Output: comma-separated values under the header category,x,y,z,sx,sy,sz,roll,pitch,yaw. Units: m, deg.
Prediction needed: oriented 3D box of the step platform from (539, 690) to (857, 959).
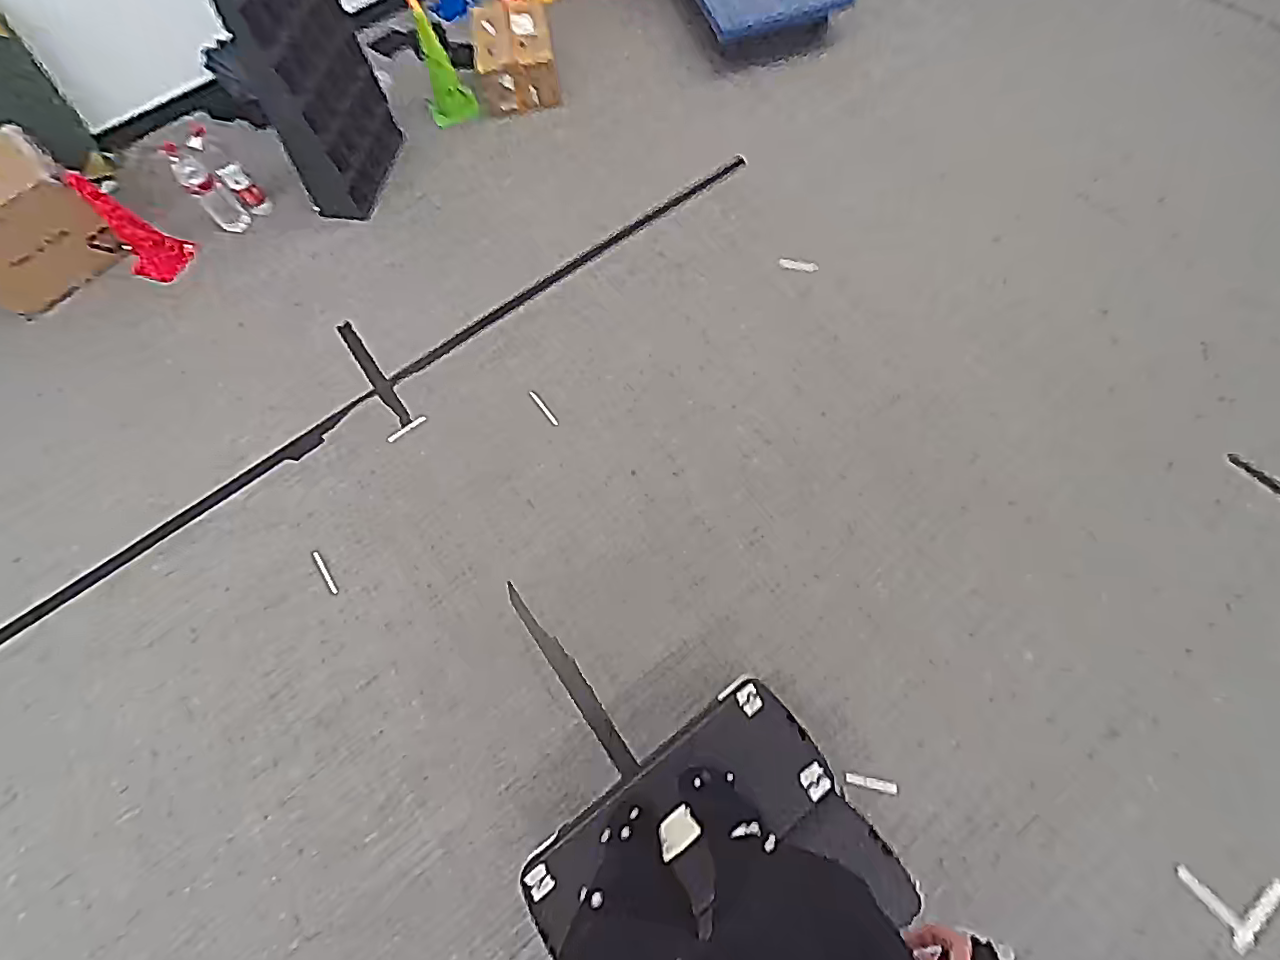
category,x,y,z,sx,sy,sz,roll,pitch,yaw
step platform,0.126,0.766,1.180,0.684,0.204,0.286,-32,68,-11
